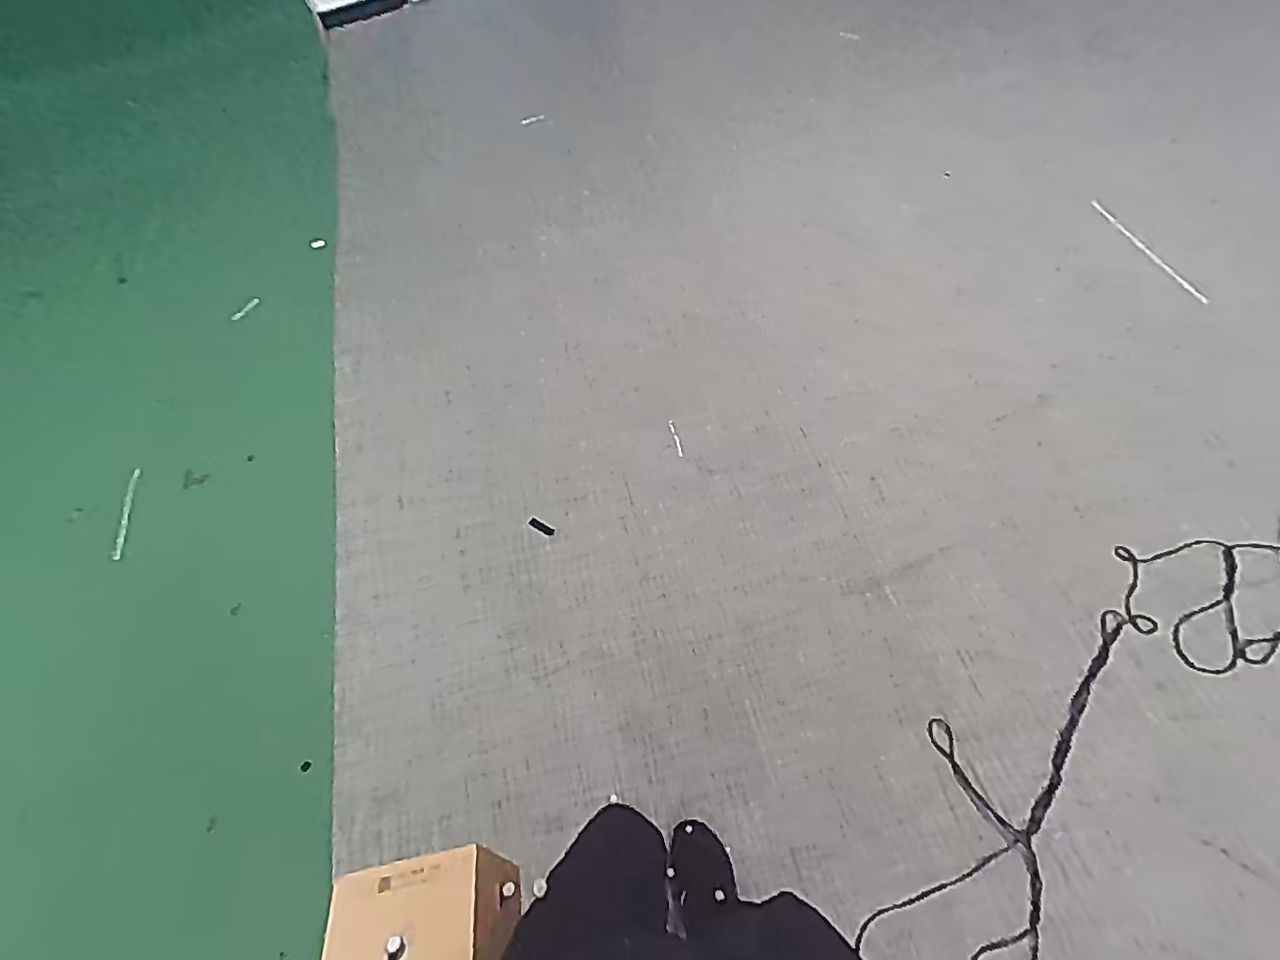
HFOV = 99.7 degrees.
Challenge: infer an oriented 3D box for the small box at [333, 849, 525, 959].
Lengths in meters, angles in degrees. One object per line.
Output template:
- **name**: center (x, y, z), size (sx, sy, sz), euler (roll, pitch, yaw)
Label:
- **small box**: center (-0.237, 0.548, 0.623), size (0.168, 0.179, 0.176), euler (-13, 47, -1)
